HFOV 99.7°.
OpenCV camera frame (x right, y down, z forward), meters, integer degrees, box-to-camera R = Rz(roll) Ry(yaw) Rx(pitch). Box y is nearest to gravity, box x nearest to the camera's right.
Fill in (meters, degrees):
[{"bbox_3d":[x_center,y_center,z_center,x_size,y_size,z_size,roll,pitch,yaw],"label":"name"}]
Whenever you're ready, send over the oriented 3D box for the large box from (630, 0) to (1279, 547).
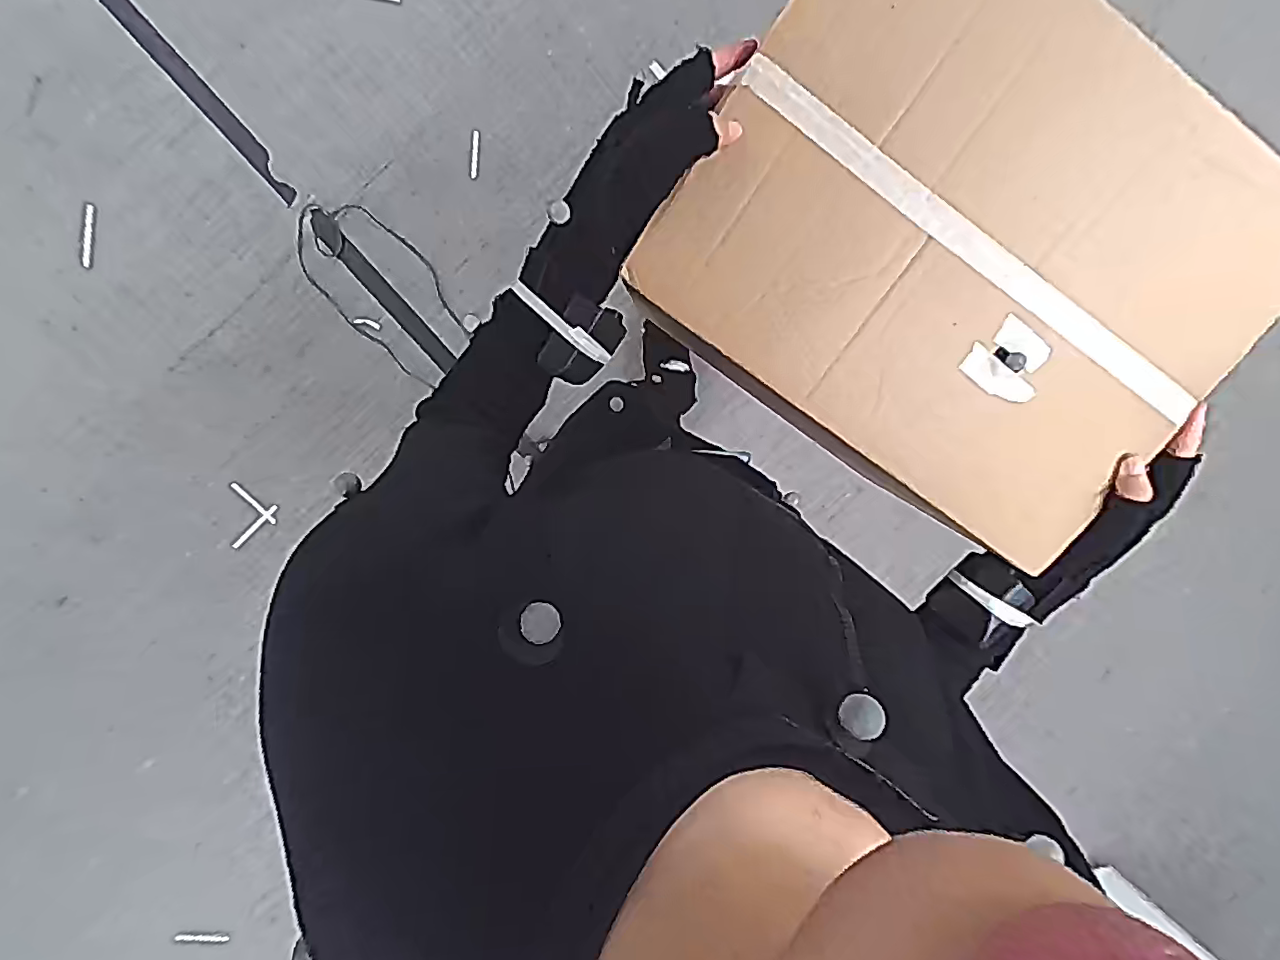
[{"bbox_3d":[0.238,-0.206,0.539,0.408,0.320,0.320,34,103,-7],"label":"large box"}]
